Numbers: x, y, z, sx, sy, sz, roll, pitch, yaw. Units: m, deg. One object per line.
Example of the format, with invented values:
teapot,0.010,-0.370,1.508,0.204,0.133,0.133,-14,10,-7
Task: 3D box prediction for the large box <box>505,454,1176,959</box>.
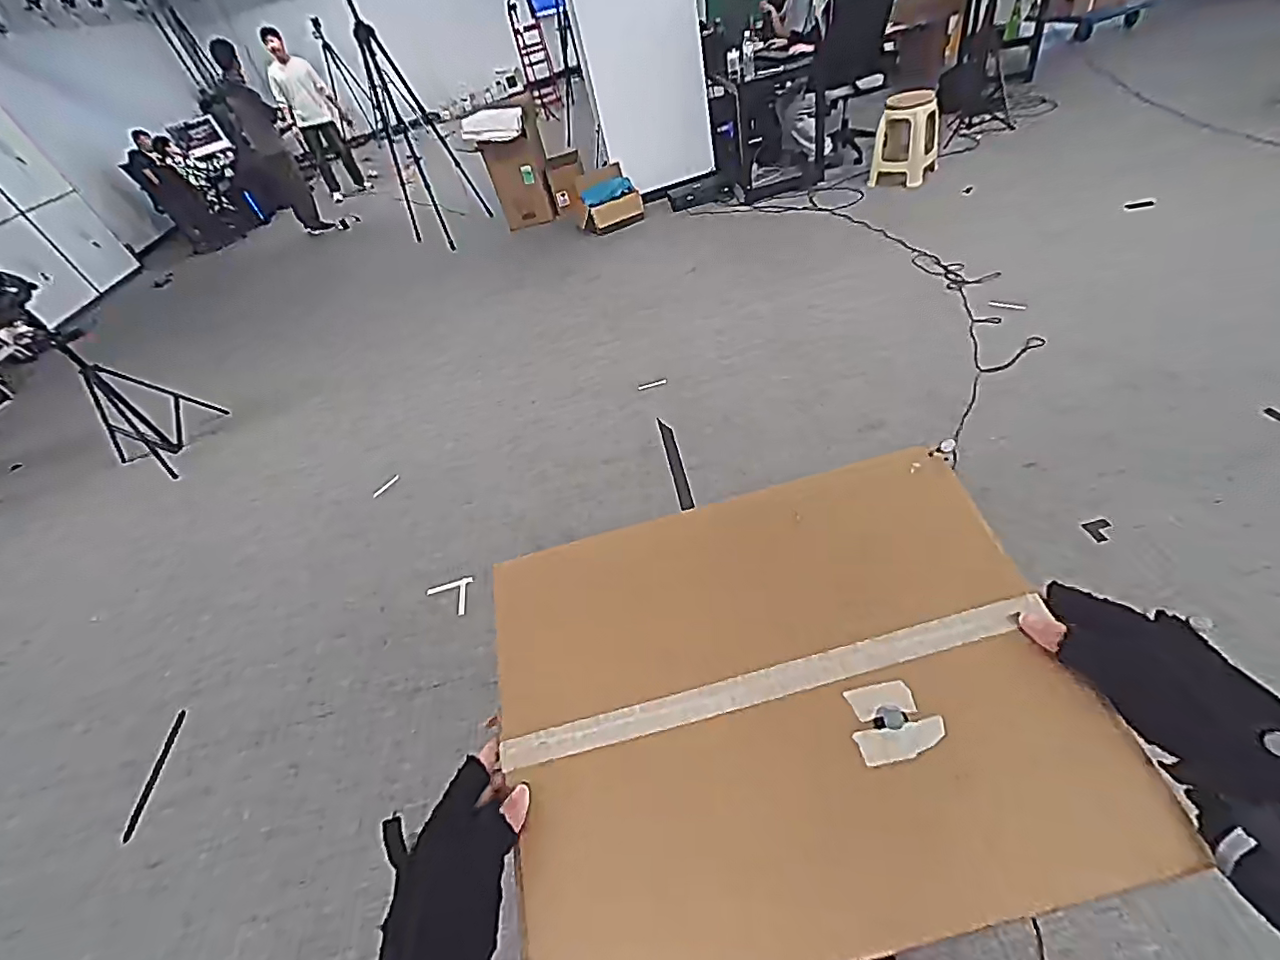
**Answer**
large box,0.124,0.233,0.531,0.408,0.320,0.320,-16,57,0
